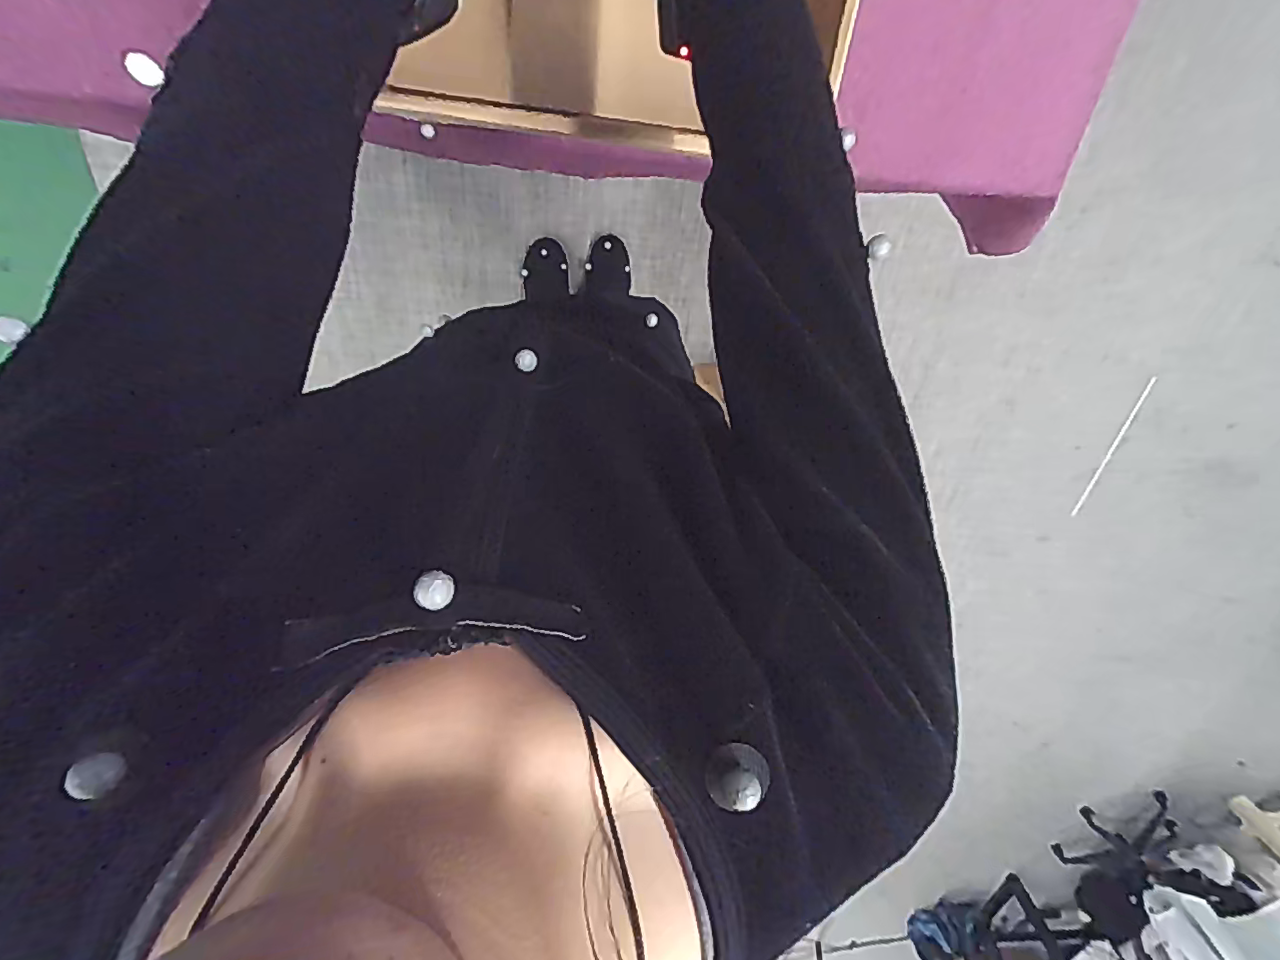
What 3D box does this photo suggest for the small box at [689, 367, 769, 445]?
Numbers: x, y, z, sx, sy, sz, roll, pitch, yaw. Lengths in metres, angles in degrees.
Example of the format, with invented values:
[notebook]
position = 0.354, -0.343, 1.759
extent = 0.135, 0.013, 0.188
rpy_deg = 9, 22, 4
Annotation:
[small box]
position = 0.231, -0.202, 1.460
extent = 0.179, 0.176, 0.168
rpy_deg = -2, 119, -4
